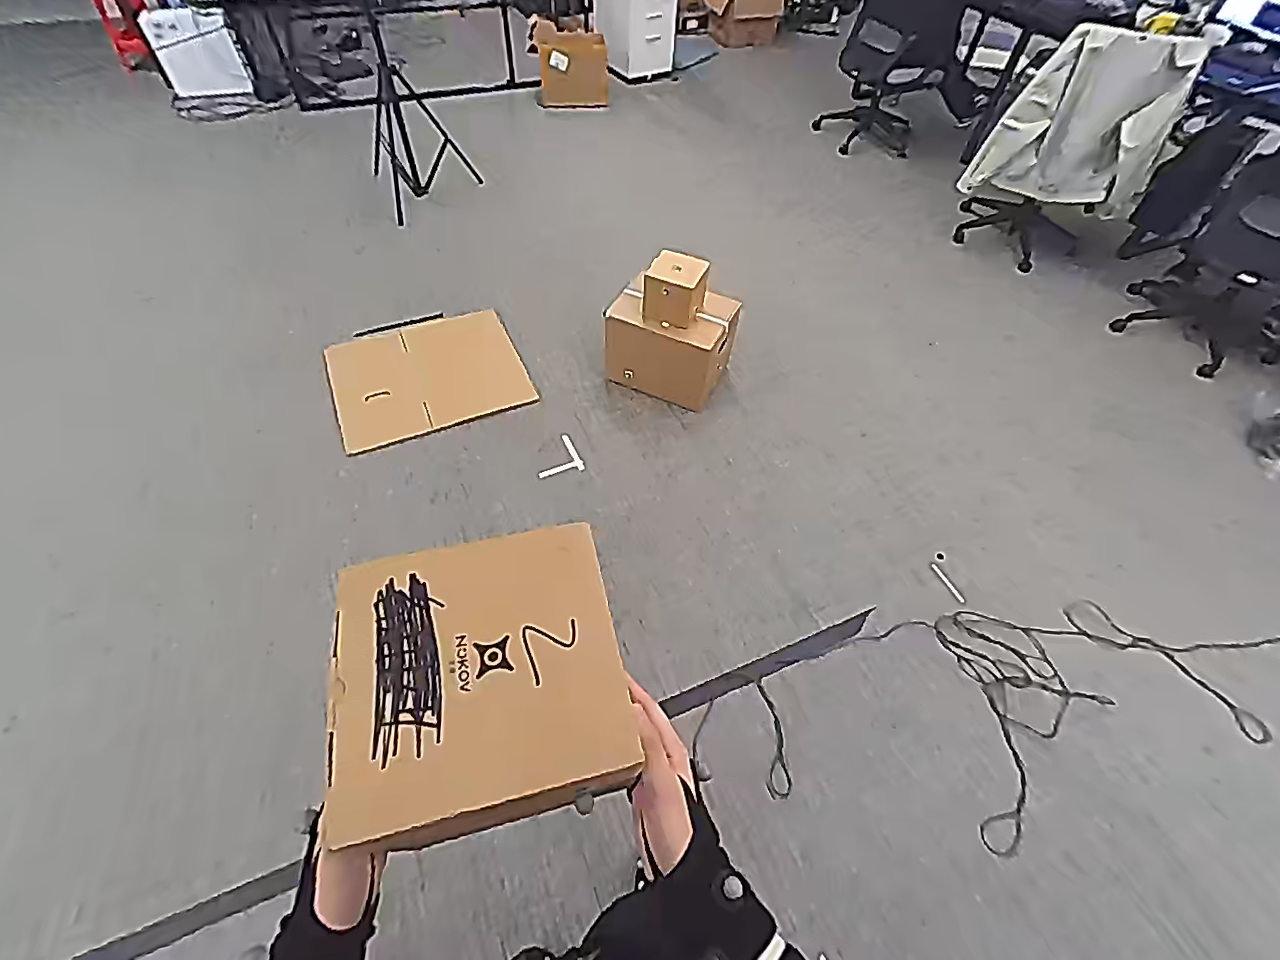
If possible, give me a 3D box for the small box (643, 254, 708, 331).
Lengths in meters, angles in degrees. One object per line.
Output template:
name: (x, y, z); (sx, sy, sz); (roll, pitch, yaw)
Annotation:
small box: (0.117, -0.642, 1.861); (0.179, 0.176, 0.168); (21, 57, 11)
